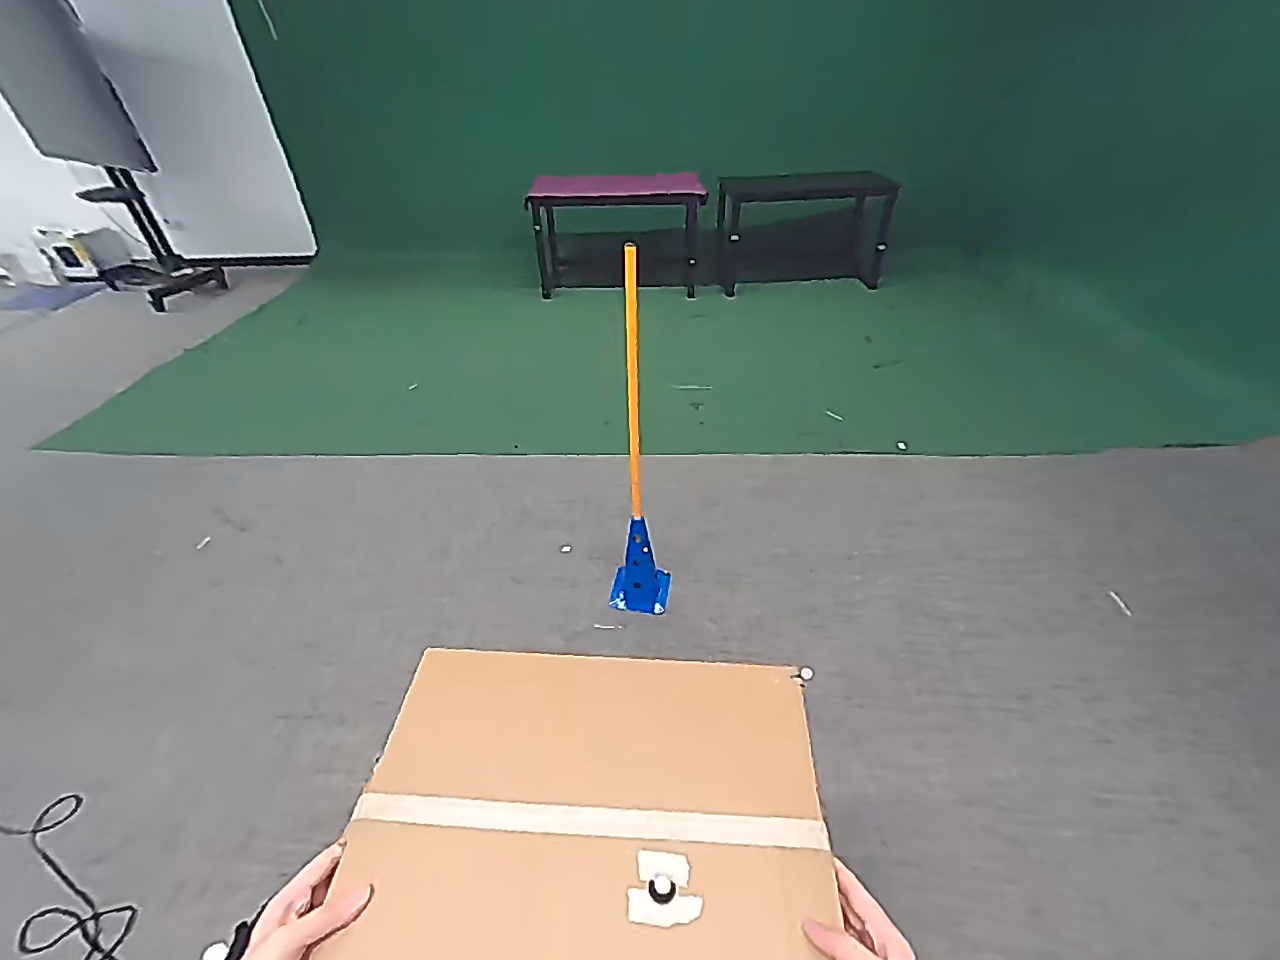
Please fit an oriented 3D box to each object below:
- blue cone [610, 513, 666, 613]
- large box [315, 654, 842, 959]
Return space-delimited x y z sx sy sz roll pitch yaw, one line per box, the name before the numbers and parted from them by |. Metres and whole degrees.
blue cone | -0.008 0.273 1.868 0.193 0.380 0.192 6 38 9
large box | -0.042 0.411 0.574 0.408 0.320 0.320 3 42 3
